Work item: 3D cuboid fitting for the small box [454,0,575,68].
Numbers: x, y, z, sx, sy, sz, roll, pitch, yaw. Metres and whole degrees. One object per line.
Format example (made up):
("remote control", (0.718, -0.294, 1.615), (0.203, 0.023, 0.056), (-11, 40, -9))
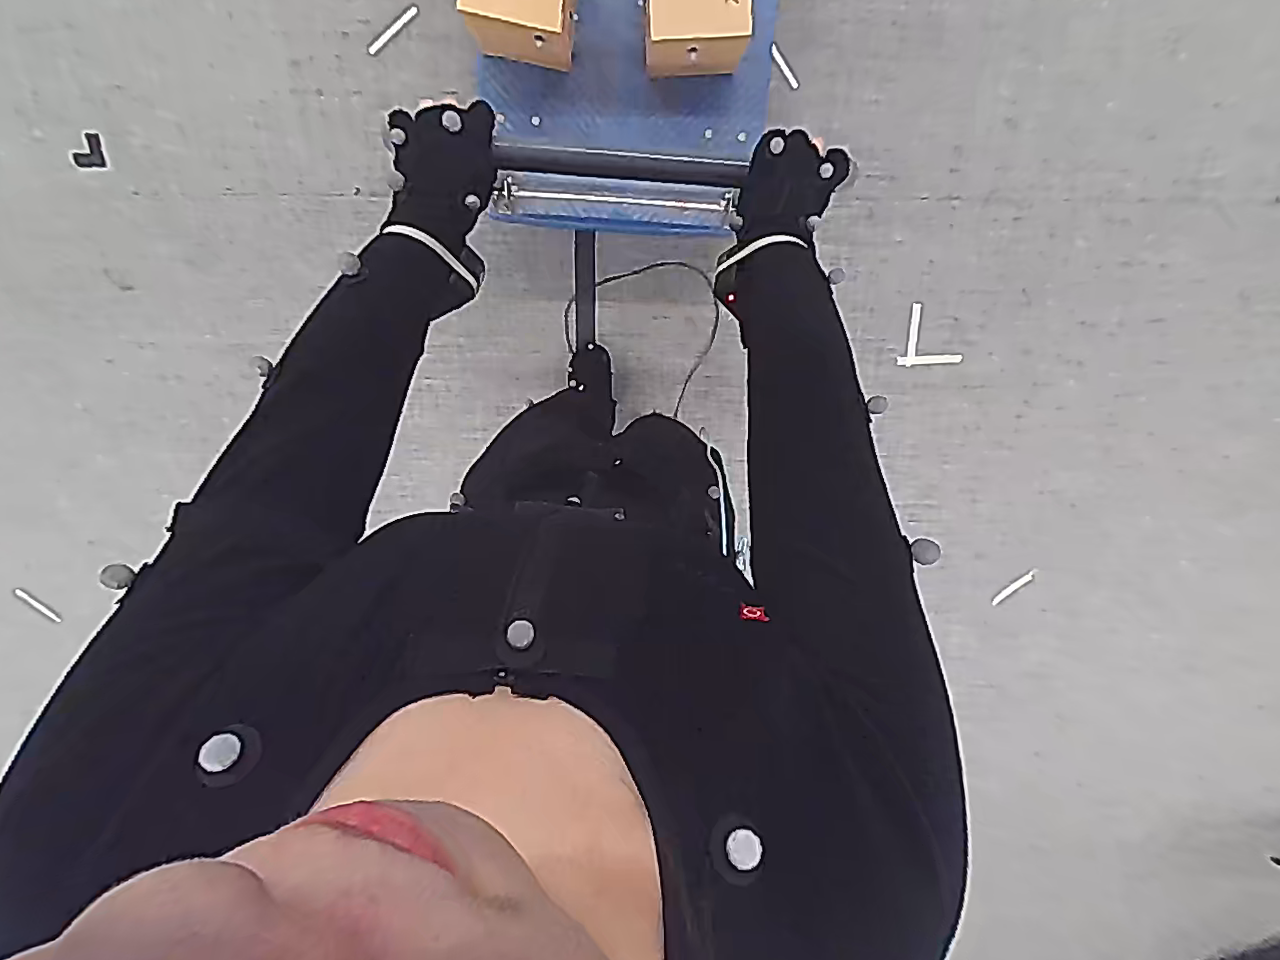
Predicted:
("small box", (-0.210, -0.859, 0.943), (0.179, 0.176, 0.168), (8, 108, -6))

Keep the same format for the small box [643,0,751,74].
("small box", (0.094, -0.847, 0.958), (0.179, 0.176, 0.168), (-3, 110, -1))
